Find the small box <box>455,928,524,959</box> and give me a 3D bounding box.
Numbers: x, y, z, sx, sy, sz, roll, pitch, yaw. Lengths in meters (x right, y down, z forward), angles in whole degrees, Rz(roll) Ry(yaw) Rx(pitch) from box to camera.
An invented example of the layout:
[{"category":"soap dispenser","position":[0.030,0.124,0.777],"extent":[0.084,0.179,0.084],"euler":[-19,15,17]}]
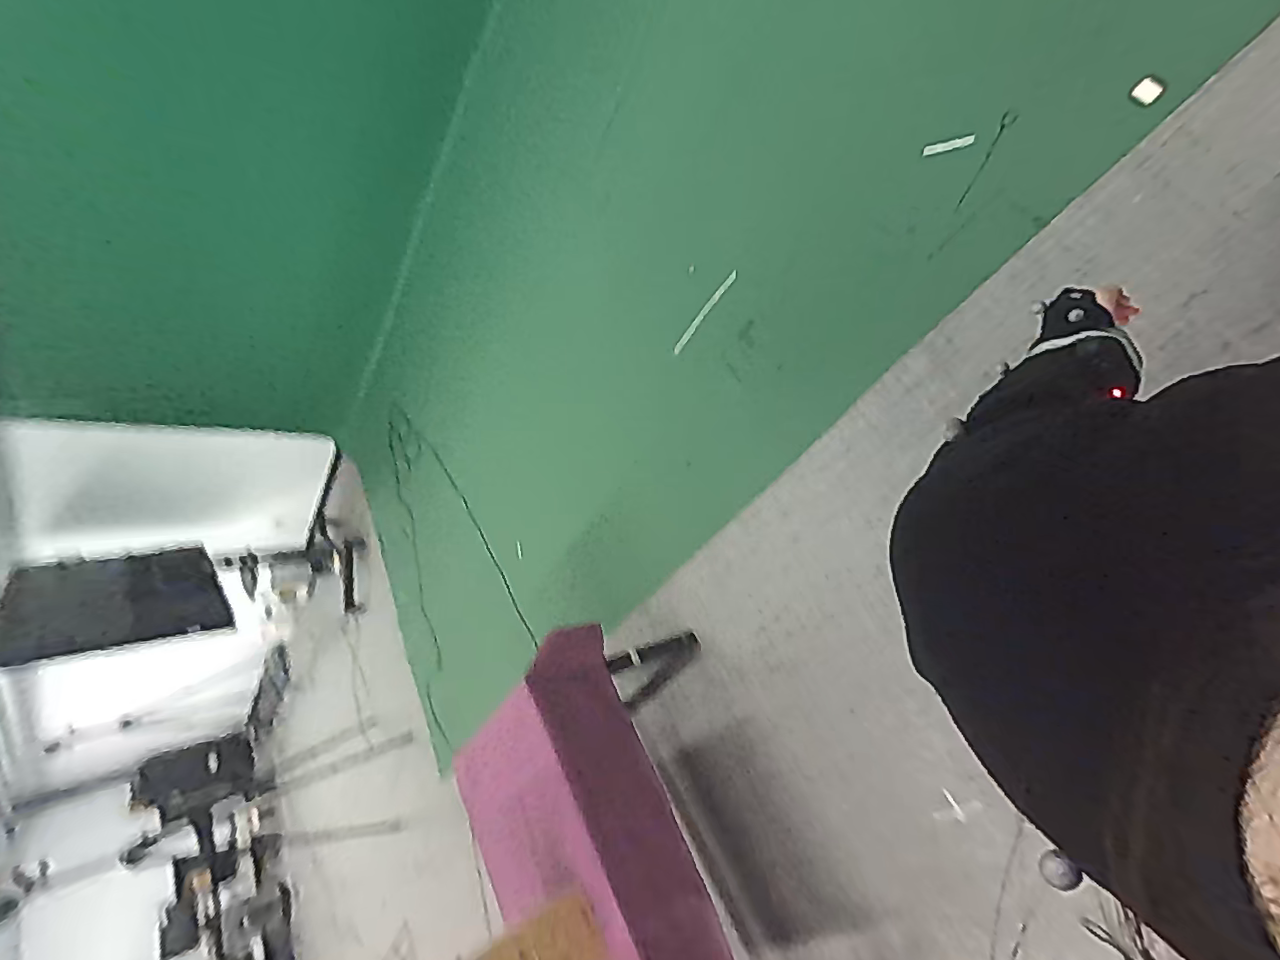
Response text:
[{"category":"small box","position":[-0.342,1.105,1.153],"extent":[0.179,0.176,0.168],"euler":[-53,55,34]}]
